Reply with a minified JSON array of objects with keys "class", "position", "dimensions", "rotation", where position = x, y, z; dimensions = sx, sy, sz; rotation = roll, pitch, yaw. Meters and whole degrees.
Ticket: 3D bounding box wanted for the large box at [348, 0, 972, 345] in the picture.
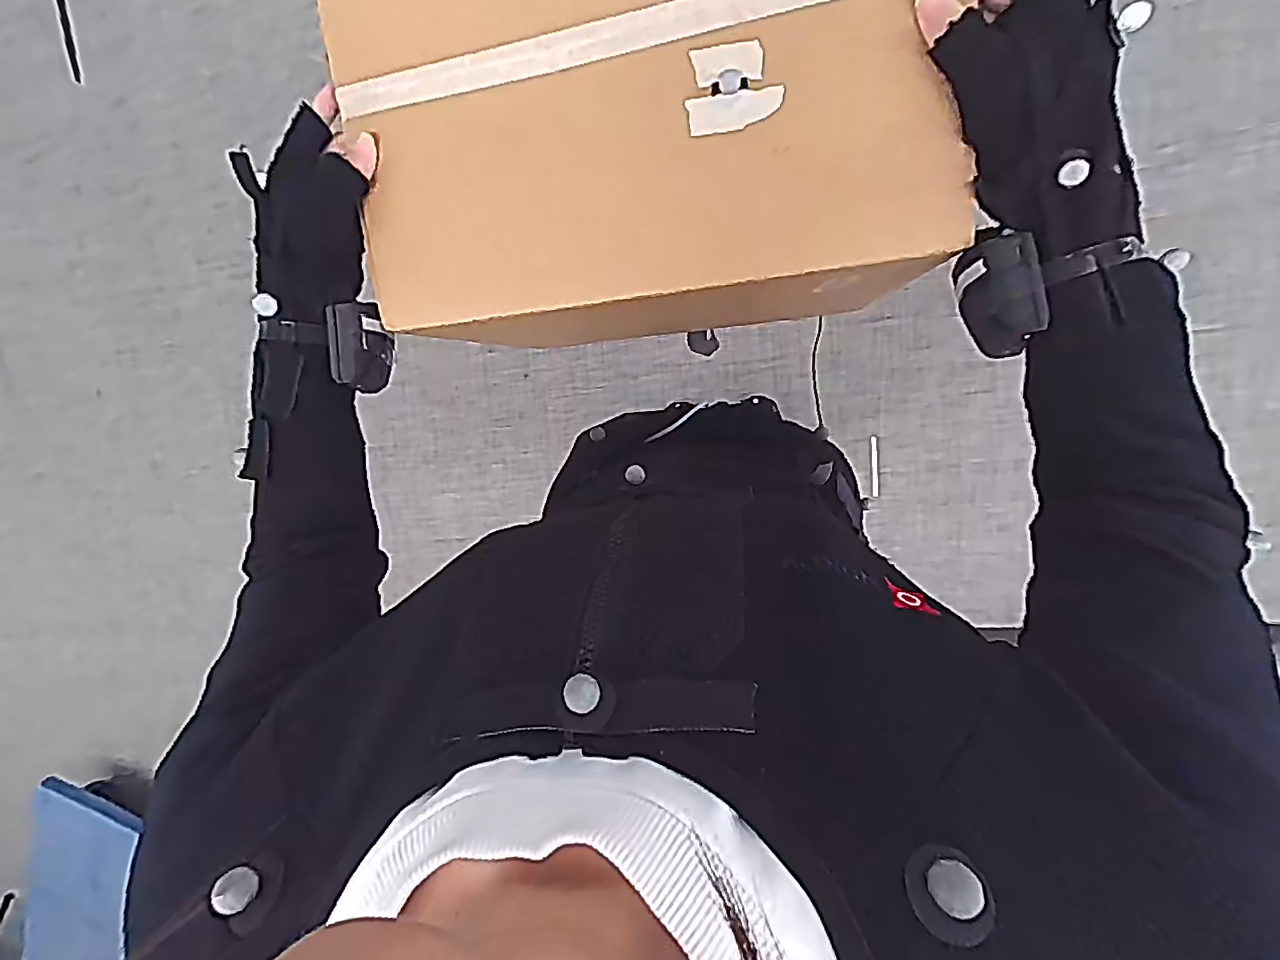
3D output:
[{"class":"large box","position":[0.020,-0.315,0.496],"dimensions":[0.408,0.320,0.320],"rotation":[-5,101,11]}]
